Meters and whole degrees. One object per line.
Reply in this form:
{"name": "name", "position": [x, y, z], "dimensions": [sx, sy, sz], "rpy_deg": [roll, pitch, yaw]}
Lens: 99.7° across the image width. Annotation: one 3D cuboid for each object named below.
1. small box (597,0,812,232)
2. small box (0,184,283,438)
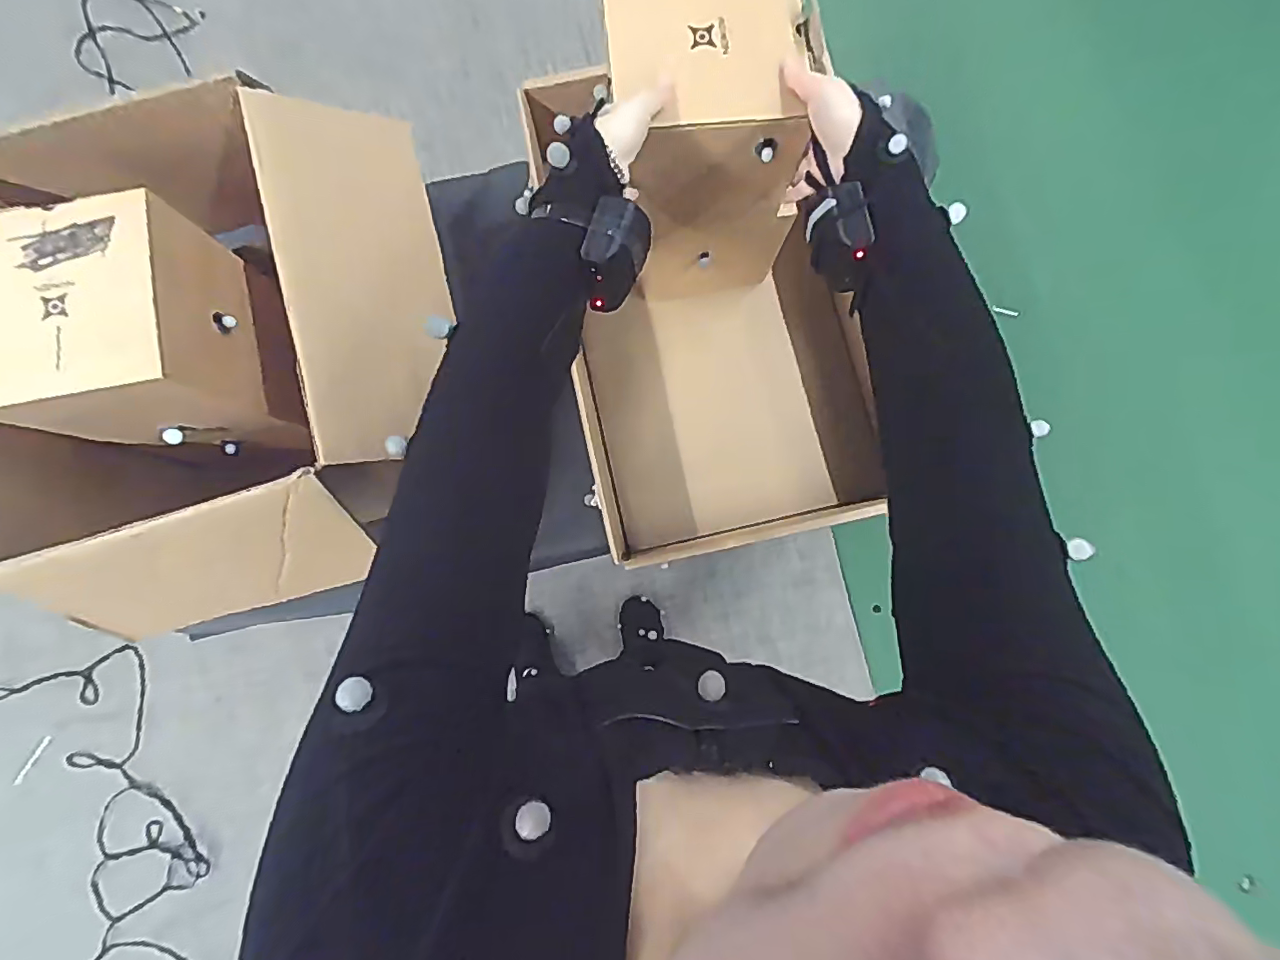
{"name": "small box", "position": [0.054, -0.375, 0.549], "dimensions": [0.179, 0.176, 0.168], "rpy_deg": [-6, 84, -2]}
{"name": "small box", "position": [-0.492, -0.151, 0.533], "dimensions": [0.168, 0.176, 0.179], "rpy_deg": [-11, 86, -3]}
